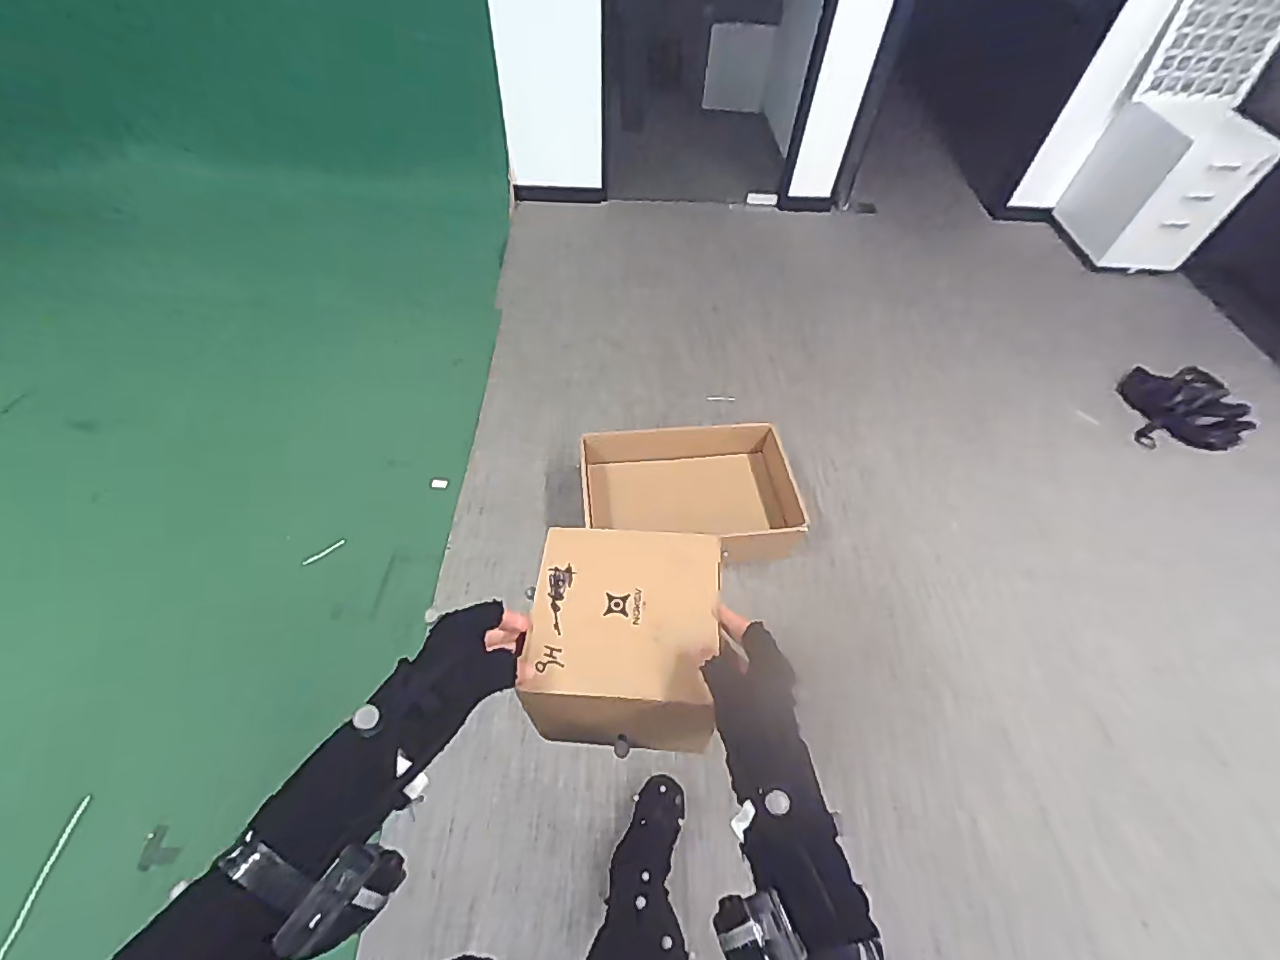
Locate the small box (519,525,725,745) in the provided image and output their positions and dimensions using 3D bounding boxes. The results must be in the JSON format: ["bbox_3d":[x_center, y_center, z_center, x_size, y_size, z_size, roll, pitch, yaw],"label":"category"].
[{"bbox_3d":[-0.010,0.166,0.563,0.179,0.176,0.168,4,51,3],"label":"small box"}]
